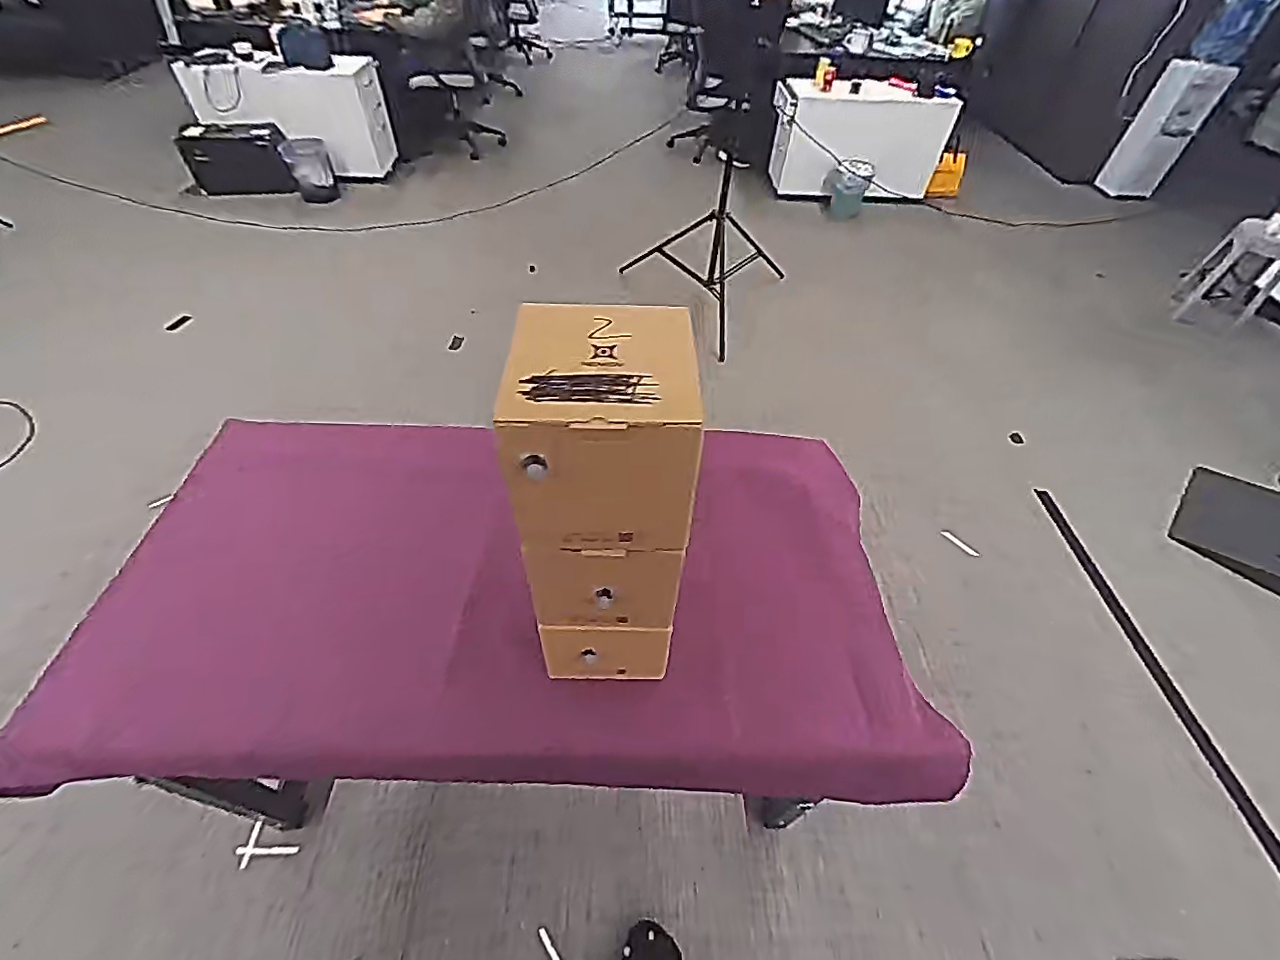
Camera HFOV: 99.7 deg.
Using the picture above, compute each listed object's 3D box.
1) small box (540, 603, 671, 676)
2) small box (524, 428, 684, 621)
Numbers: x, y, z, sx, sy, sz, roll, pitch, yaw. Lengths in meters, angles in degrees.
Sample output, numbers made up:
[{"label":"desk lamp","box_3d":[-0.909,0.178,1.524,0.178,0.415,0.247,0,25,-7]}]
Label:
[{"label":"small box","box_3d":[-0.043,0.168,0.774,0.168,0.176,0.179,1,49,-2]},{"label":"small box","box_3d":[-0.036,0.057,0.654,0.168,0.176,0.179,2,49,-1]}]
